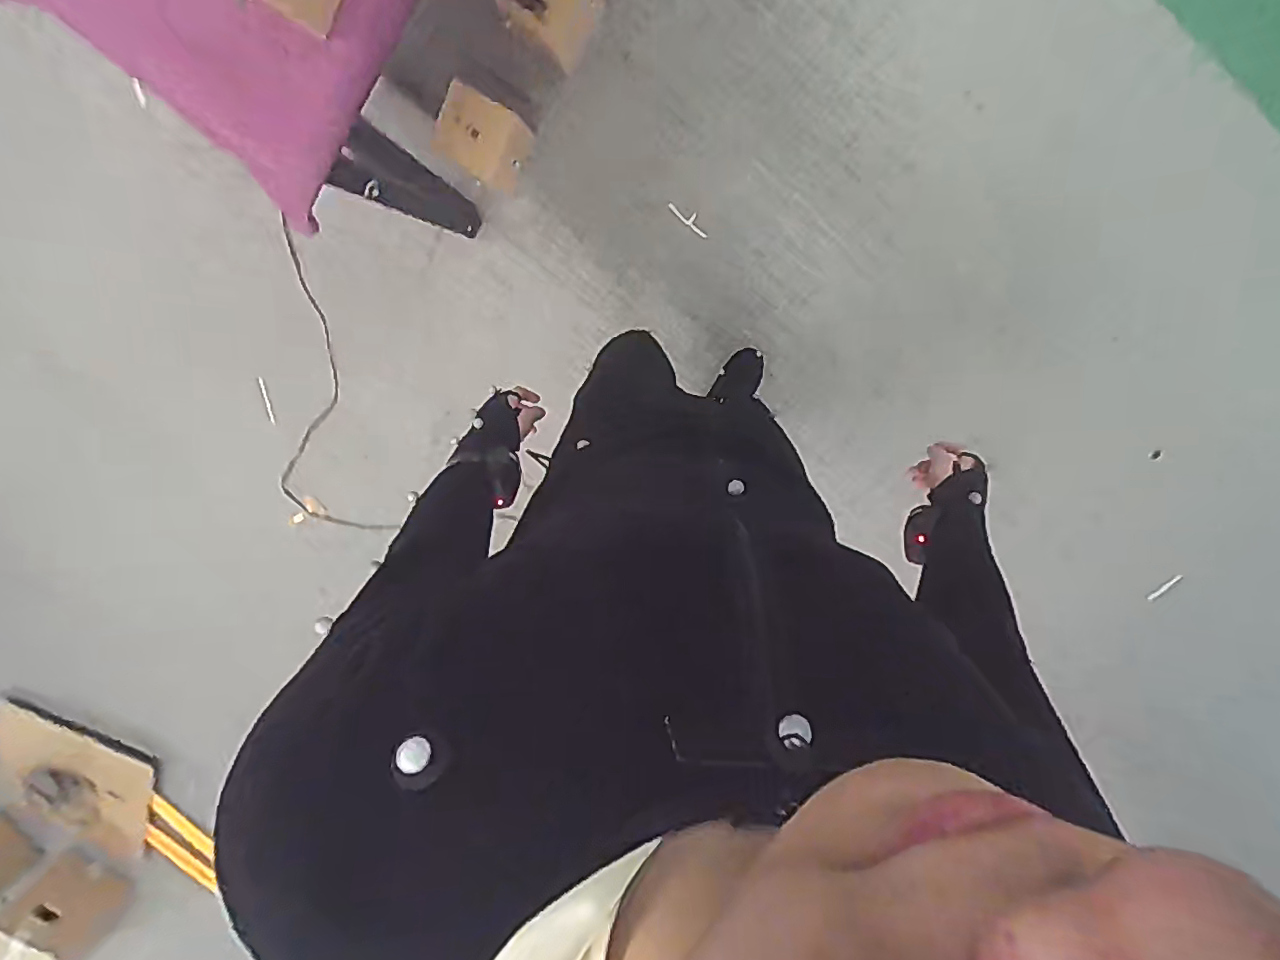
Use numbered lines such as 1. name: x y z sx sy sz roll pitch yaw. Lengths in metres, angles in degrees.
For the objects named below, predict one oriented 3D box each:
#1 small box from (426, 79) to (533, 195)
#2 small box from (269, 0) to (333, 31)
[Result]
1. small box: -0.392 -0.842 1.351 0.179 0.176 0.168 30 106 -3
2. small box: -0.464 -0.702 0.638 0.168 0.176 0.179 36 106 -3
